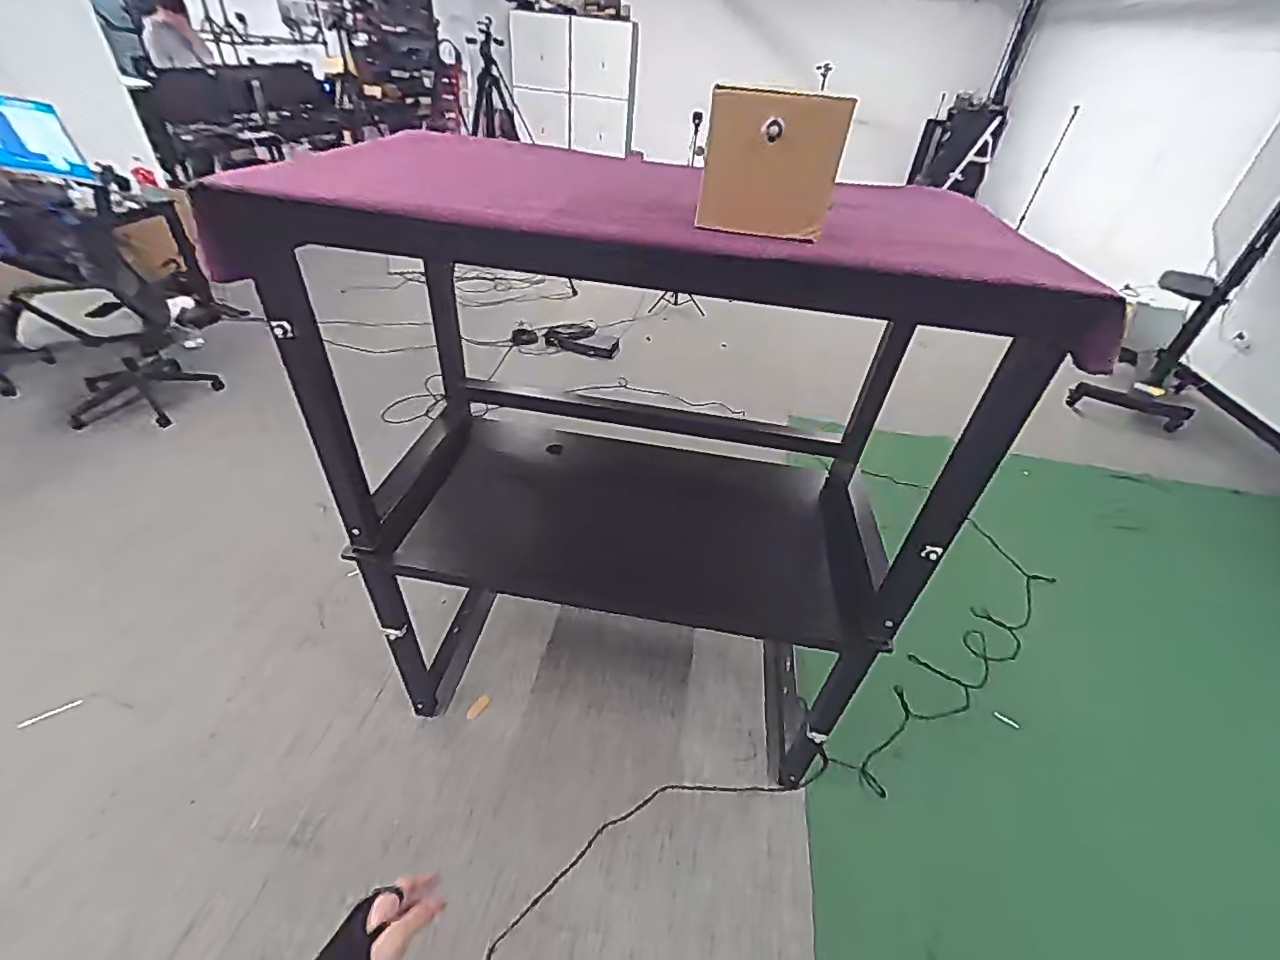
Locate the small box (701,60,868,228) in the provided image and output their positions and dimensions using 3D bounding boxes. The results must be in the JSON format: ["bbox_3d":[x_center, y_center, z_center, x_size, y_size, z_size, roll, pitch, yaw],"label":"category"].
[{"bbox_3d":[0.184,-0.455,0.735,0.179,0.176,0.168,11,39,5],"label":"small box"}]
